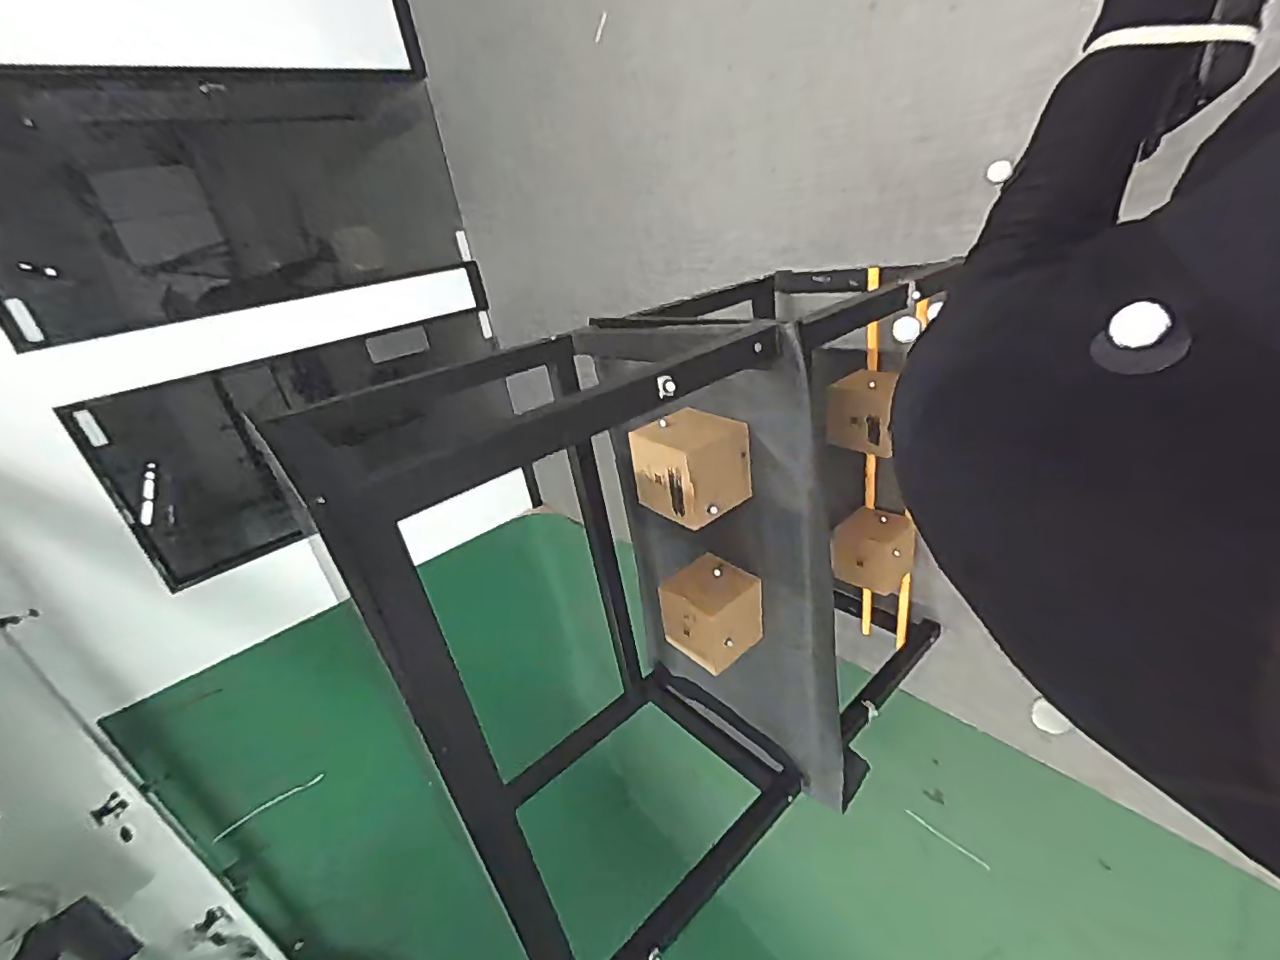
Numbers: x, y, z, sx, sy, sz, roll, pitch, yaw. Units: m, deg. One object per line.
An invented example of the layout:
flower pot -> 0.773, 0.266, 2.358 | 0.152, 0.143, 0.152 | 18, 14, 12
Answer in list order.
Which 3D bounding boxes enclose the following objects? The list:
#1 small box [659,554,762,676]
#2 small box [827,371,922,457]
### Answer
small box -> 0.168, 0.305, 1.251 | 0.168, 0.176, 0.179 | 23, 130, 45
small box -> 0.620, -0.182, 1.431 | 0.179, 0.176, 0.168 | 23, 130, 45
